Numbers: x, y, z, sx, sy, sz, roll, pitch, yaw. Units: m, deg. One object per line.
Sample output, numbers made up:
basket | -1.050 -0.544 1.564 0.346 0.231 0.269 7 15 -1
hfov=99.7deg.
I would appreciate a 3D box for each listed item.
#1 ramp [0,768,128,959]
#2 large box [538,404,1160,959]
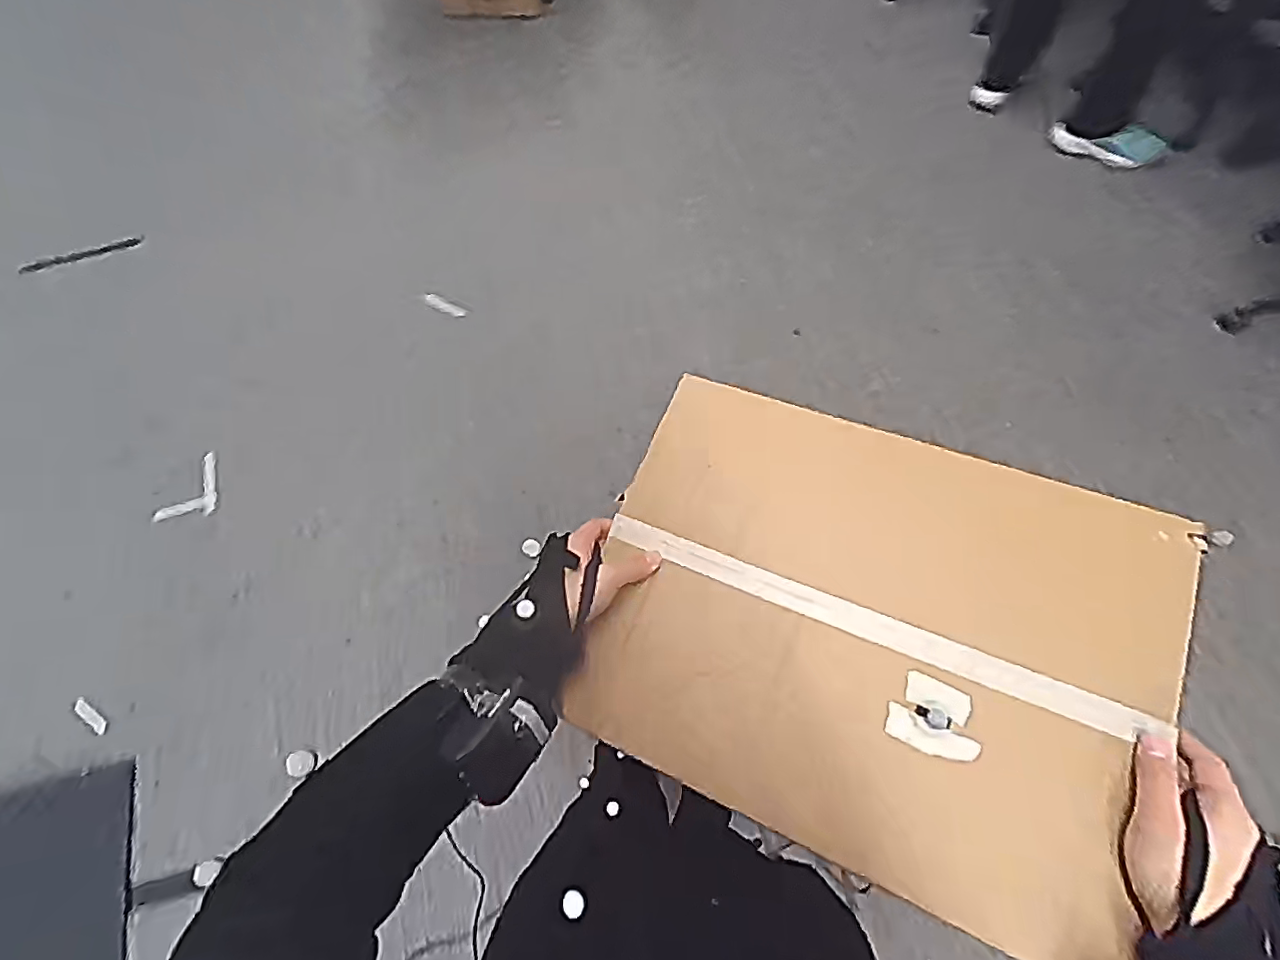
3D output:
ramp | -1.556 0.946 1.010 0.991 0.206 0.509 -16 68 -5
large box | 0.175 0.170 0.552 0.408 0.320 0.320 18 75 15
